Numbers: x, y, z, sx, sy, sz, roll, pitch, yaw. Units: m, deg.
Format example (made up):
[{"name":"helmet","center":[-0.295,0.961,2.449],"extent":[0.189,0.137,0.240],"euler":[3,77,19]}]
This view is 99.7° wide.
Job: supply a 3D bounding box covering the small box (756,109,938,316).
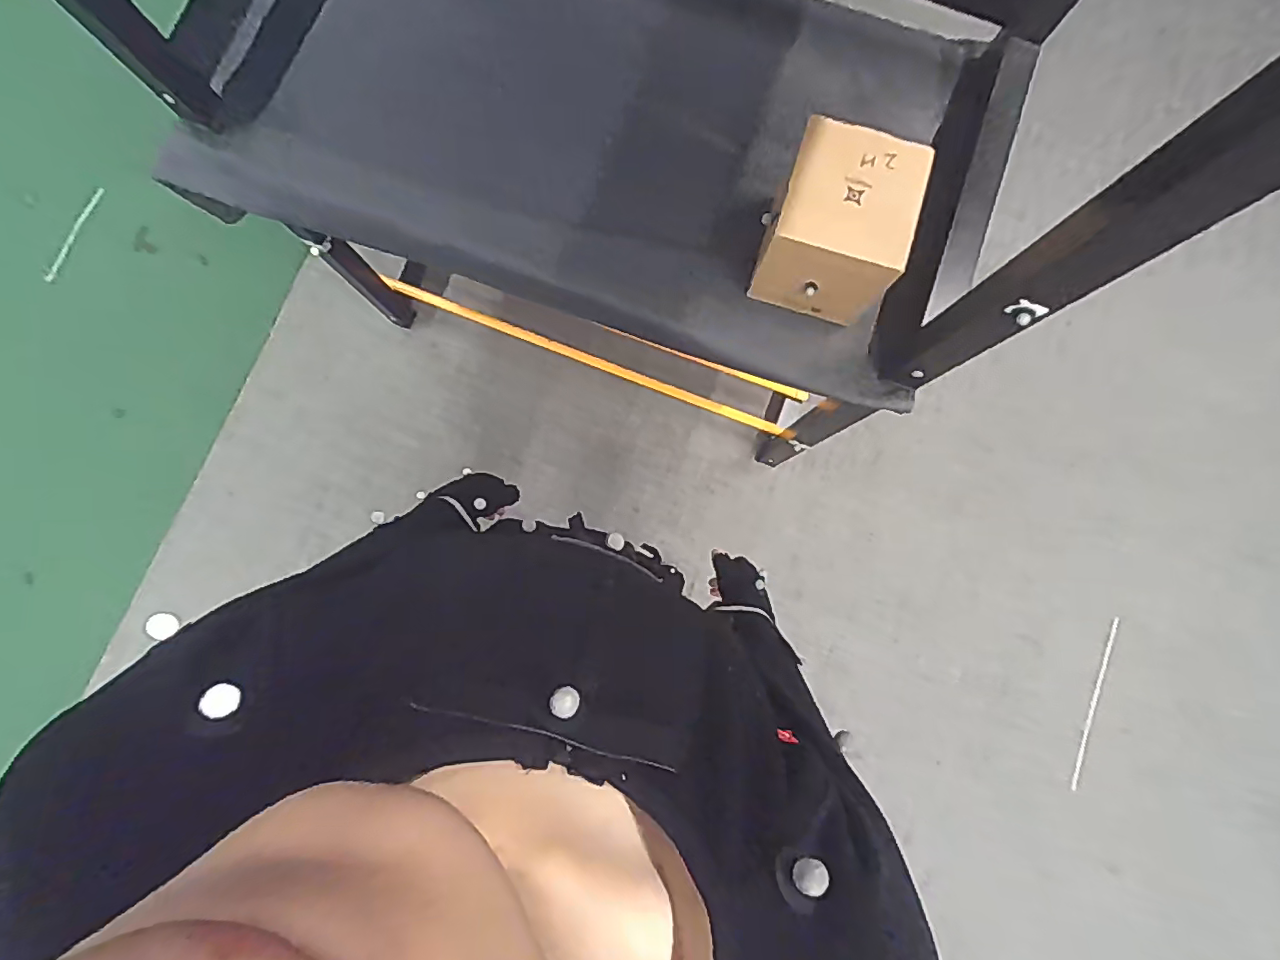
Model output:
[{"name":"small box","center":[0.271,-0.354,0.749],"extent":[0.168,0.176,0.179],"euler":[17,83,1]}]
